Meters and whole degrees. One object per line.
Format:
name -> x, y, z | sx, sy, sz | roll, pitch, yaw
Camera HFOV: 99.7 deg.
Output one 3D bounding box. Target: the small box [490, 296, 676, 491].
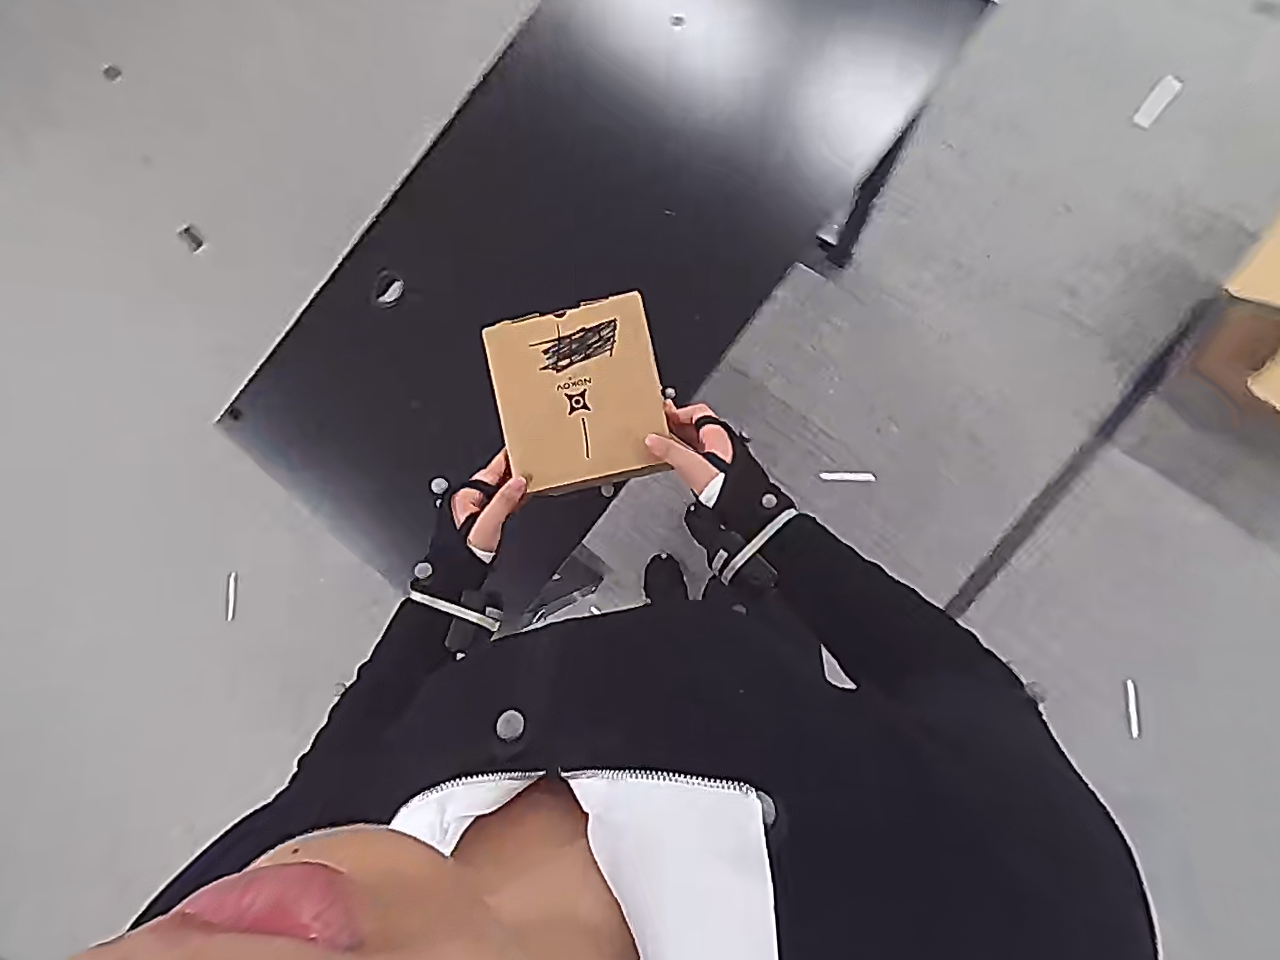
small box -> -0.055, -0.085, 0.626 | 0.168, 0.176, 0.179 | -11, 89, 5
